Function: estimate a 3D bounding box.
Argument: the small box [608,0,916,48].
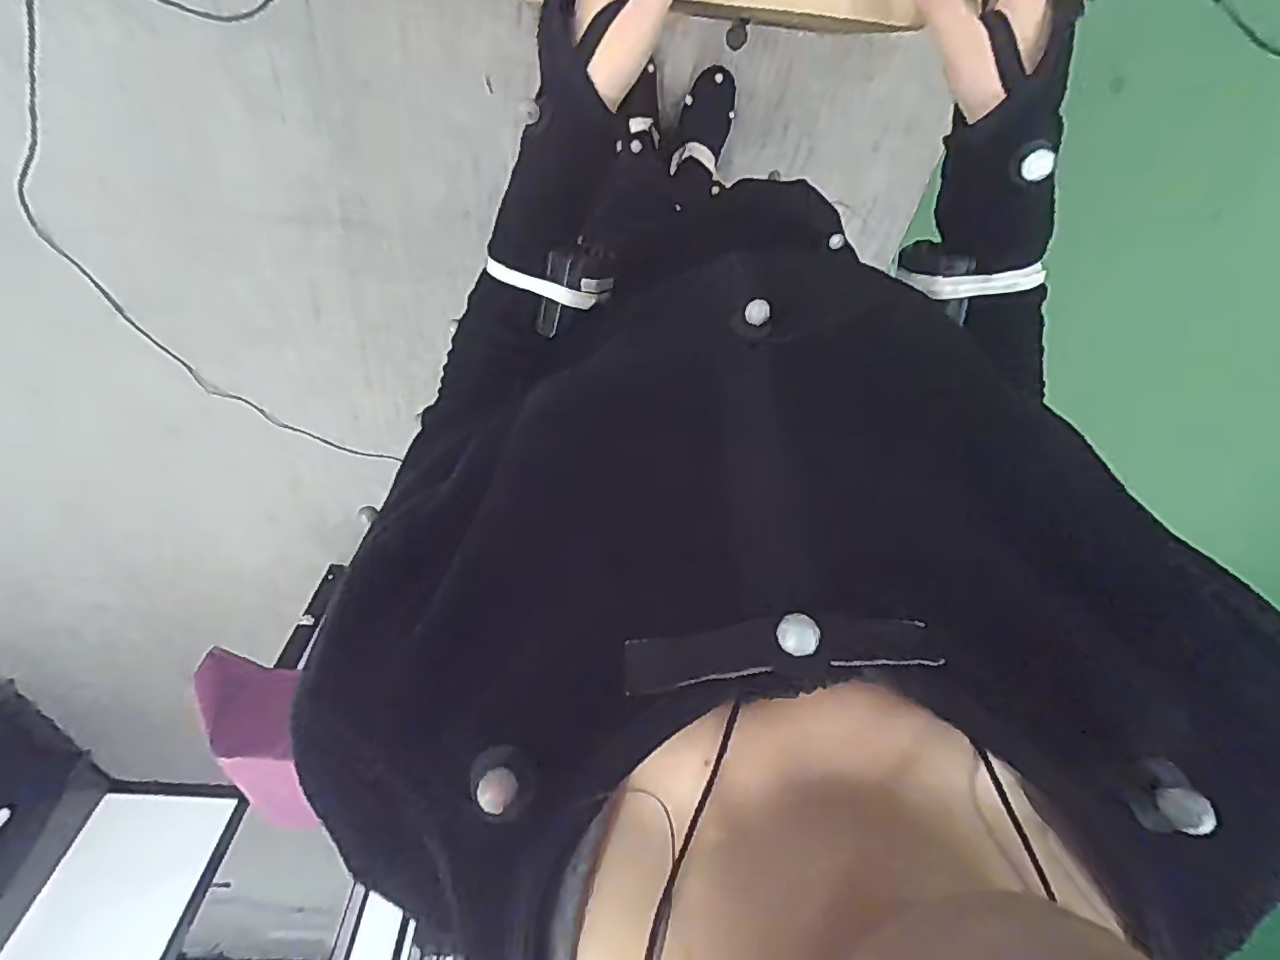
[{"bbox_3d":[0.074,-0.373,0.320,0.179,0.176,0.168,4,129,-4],"label":"small box"}]
